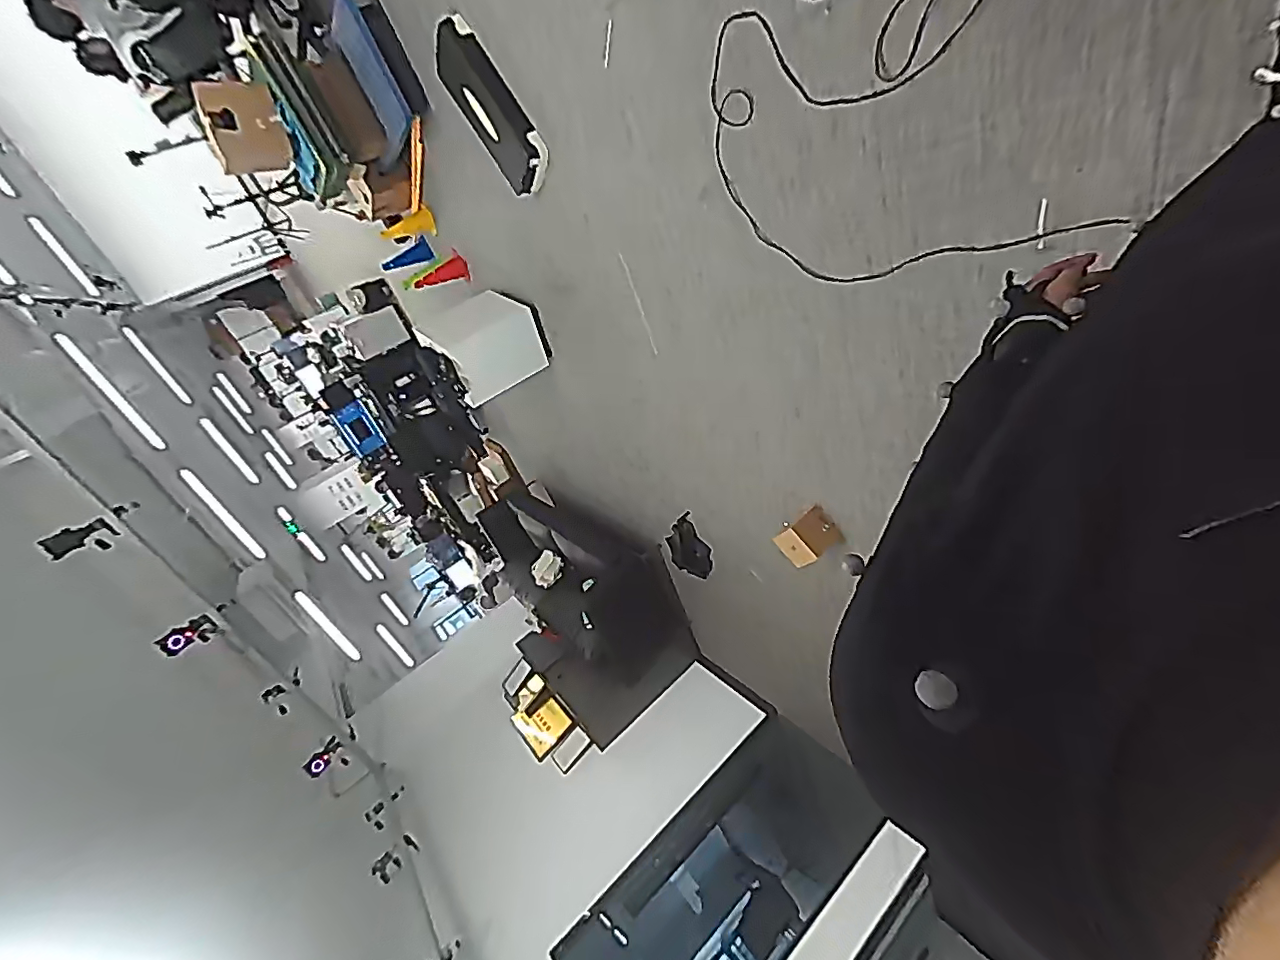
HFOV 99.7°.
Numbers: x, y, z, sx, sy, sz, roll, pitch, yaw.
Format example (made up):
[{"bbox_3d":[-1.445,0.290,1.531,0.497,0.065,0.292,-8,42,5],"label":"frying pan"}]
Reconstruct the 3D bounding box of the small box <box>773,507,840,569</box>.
[{"bbox_3d":[0.695,0.241,2.249,0.168,0.176,0.179,49,156,9],"label":"small box"}]
